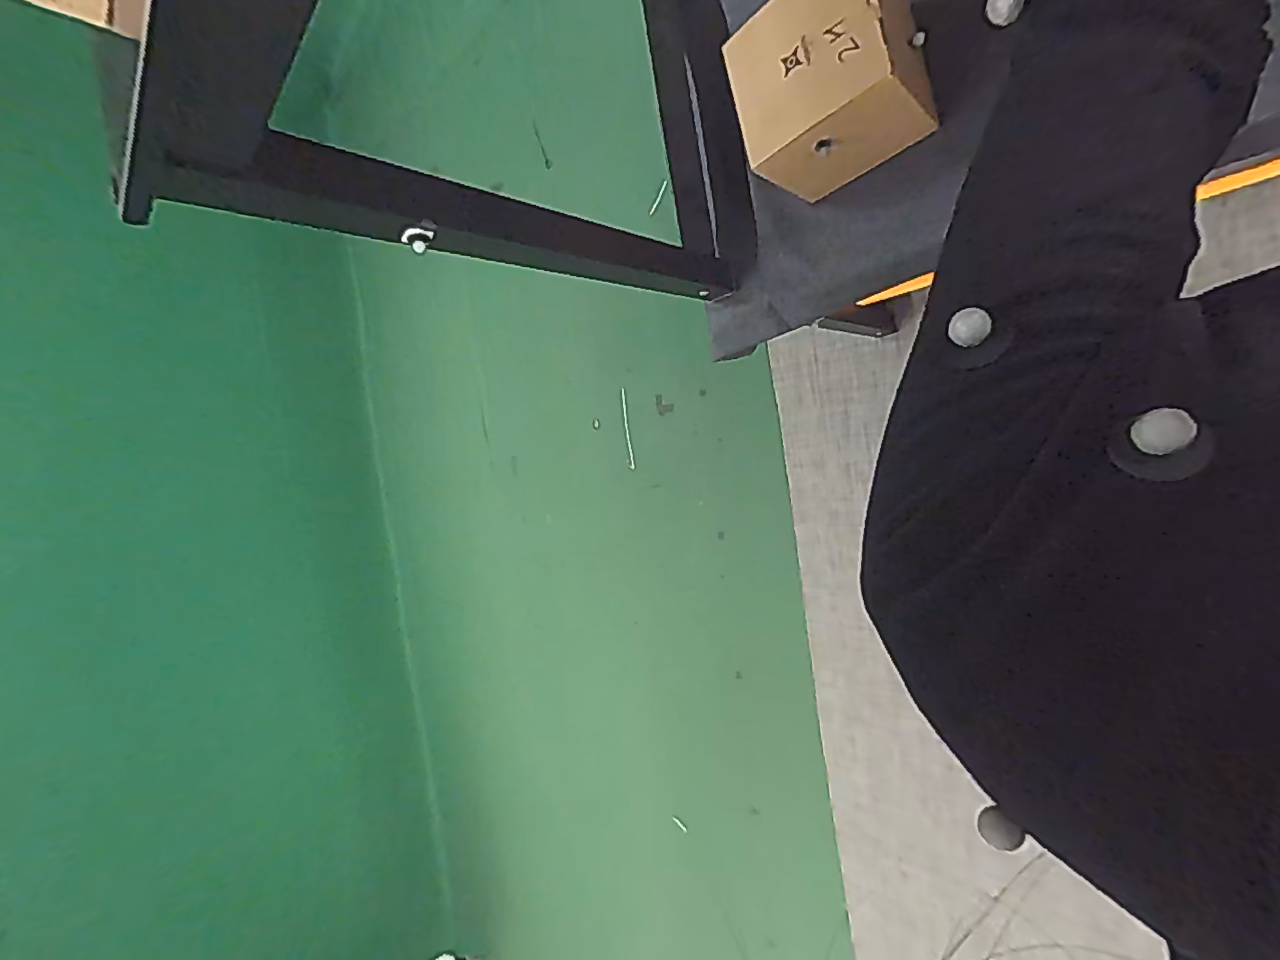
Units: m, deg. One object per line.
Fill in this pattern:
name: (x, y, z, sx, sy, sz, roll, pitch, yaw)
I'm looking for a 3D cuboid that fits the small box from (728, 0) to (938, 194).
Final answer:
small box: (0.241, -0.493, 0.677, 0.179, 0.176, 0.168, -14, 87, 44)
